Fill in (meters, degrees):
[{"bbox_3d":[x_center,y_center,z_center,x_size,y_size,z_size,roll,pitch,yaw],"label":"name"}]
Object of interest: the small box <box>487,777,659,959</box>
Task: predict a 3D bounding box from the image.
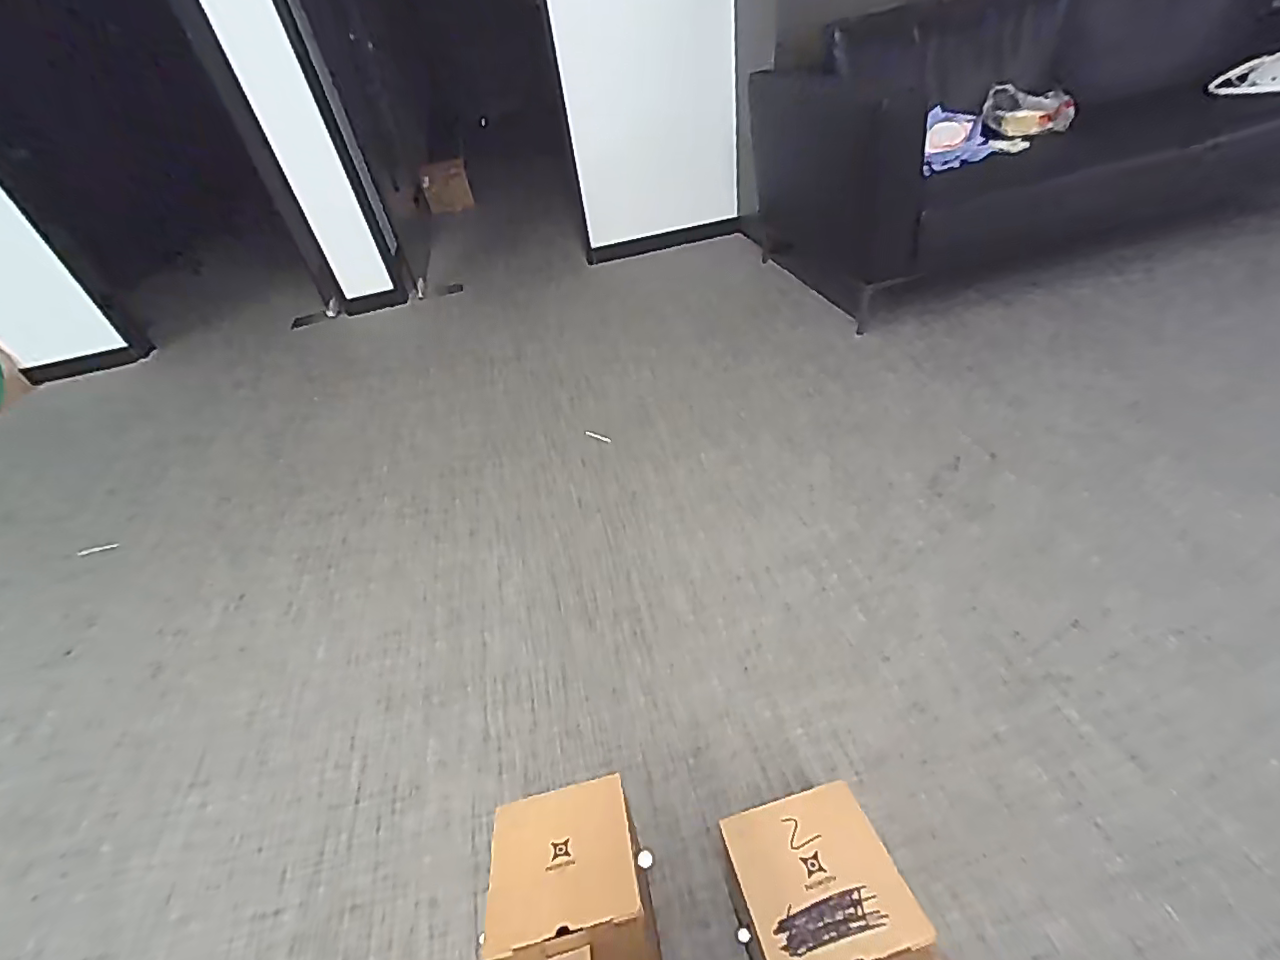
[{"bbox_3d":[-0.076,0.512,0.659,0.168,0.176,0.179,-13,22,-5],"label":"small box"}]
